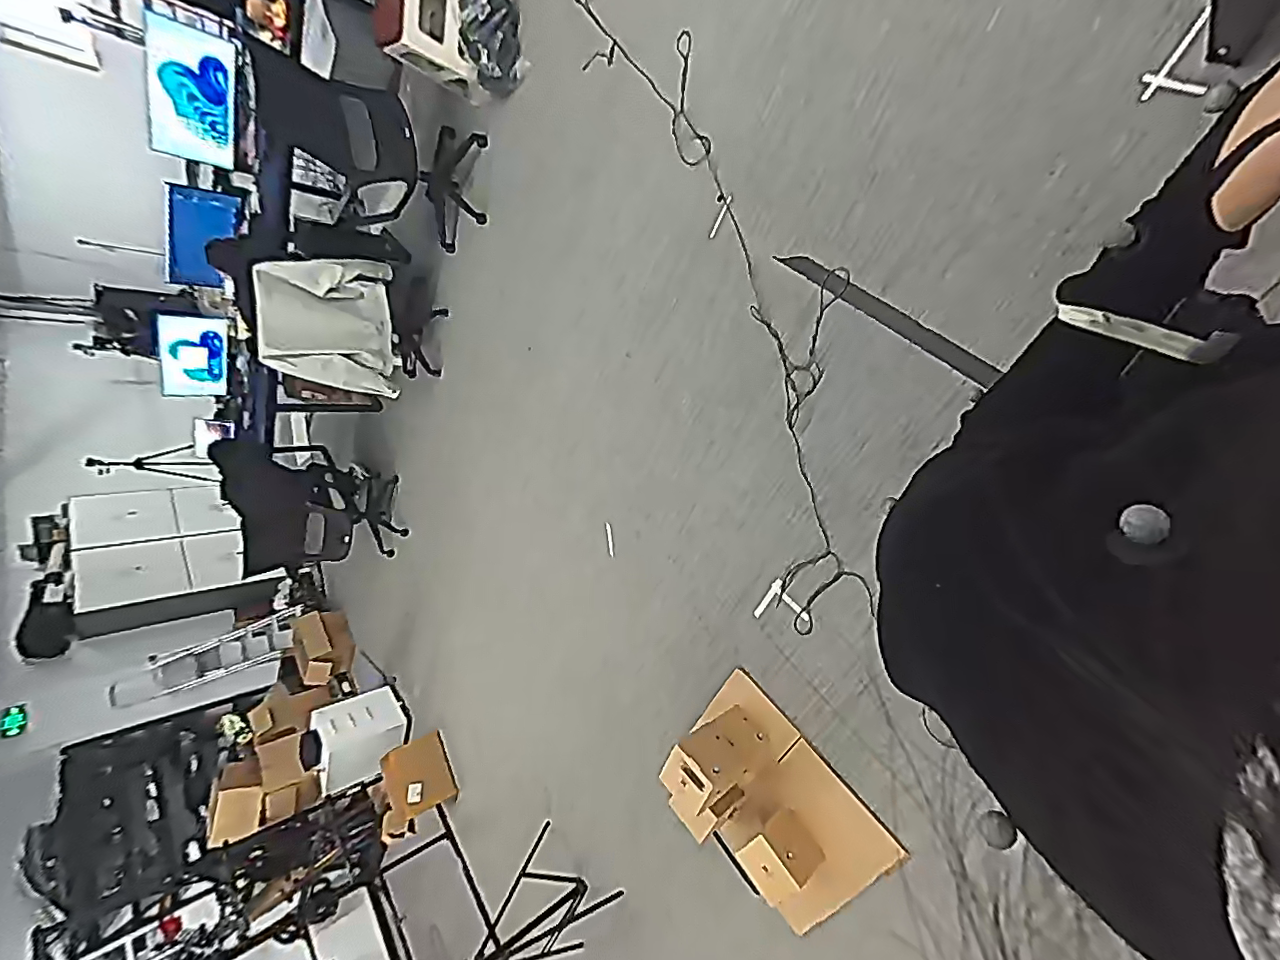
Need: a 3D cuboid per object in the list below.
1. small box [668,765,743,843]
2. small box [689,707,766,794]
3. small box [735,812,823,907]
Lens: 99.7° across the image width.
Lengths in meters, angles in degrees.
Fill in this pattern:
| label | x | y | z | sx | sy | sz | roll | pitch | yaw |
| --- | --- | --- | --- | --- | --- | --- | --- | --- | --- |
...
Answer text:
| label | x | y | z | sx | sy | sz | roll | pitch | yaw |
| --- | --- | --- | --- | --- | --- | --- | --- | --- | --- |
| small box | 0.238 | 1.147 | 1.954 | 0.179 | 0.176 | 0.168 | 40 | 123 | 34 |
| small box | 0.306 | 0.917 | 1.852 | 0.168 | 0.176 | 0.179 | 41 | 122 | 34 |
| small box | 0.450 | 1.212 | 1.745 | 0.179 | 0.176 | 0.168 | 48 | 126 | 28 |
